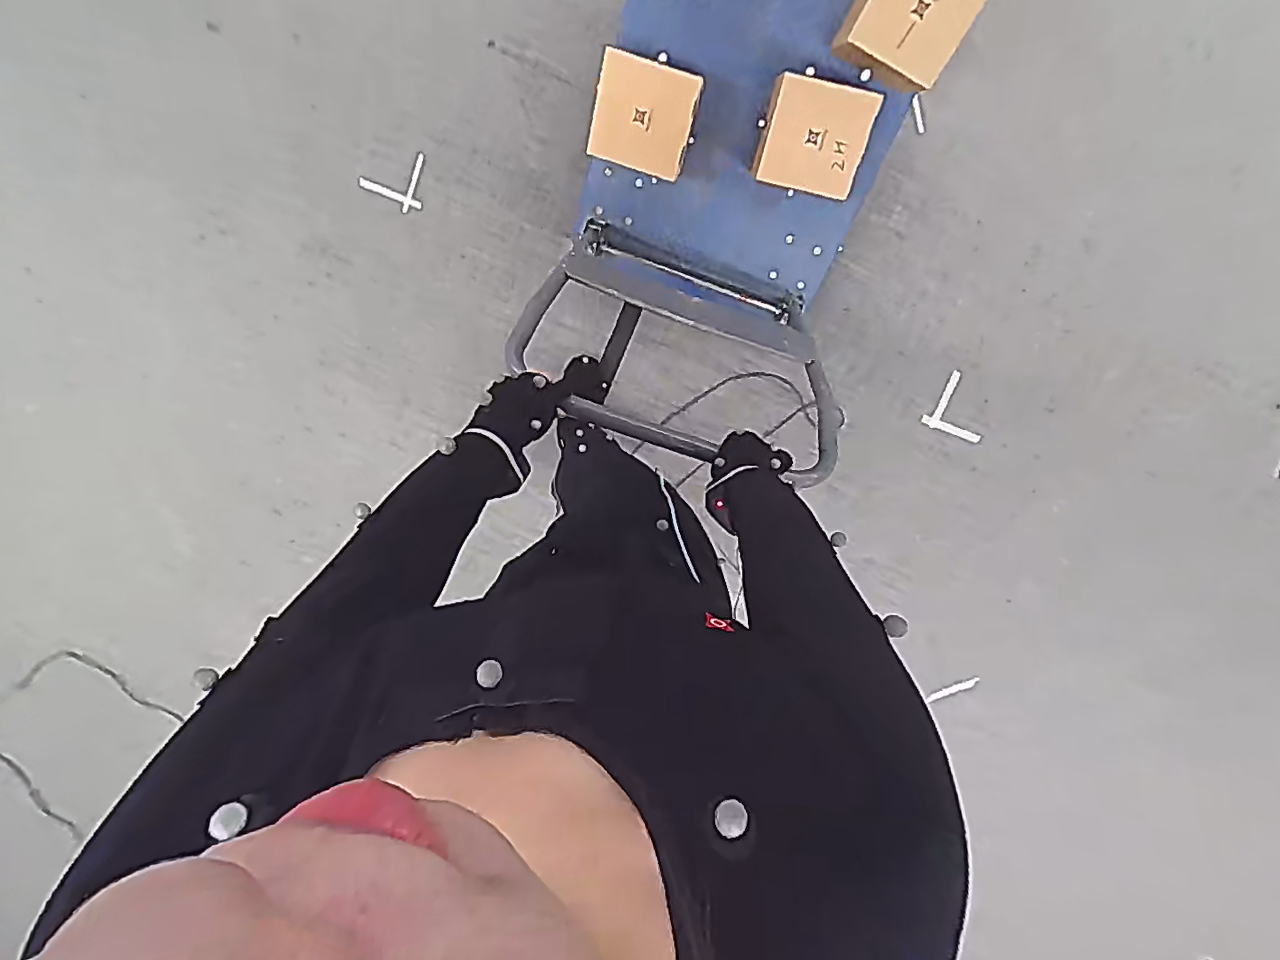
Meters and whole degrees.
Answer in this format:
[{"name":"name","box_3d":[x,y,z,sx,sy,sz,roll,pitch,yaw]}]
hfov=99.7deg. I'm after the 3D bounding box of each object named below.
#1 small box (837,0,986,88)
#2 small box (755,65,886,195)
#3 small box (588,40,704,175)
[{"name":"small box","box_3d":[0.455,-0.793,0.904,0.168,0.176,0.179,24,124,-8]},{"name":"small box","box_3d":[0.323,-0.653,1.016,0.179,0.176,0.168,13,125,-1]},{"name":"small box","box_3d":[0.014,-0.699,1.027,0.179,0.176,0.168,15,124,-5]}]
